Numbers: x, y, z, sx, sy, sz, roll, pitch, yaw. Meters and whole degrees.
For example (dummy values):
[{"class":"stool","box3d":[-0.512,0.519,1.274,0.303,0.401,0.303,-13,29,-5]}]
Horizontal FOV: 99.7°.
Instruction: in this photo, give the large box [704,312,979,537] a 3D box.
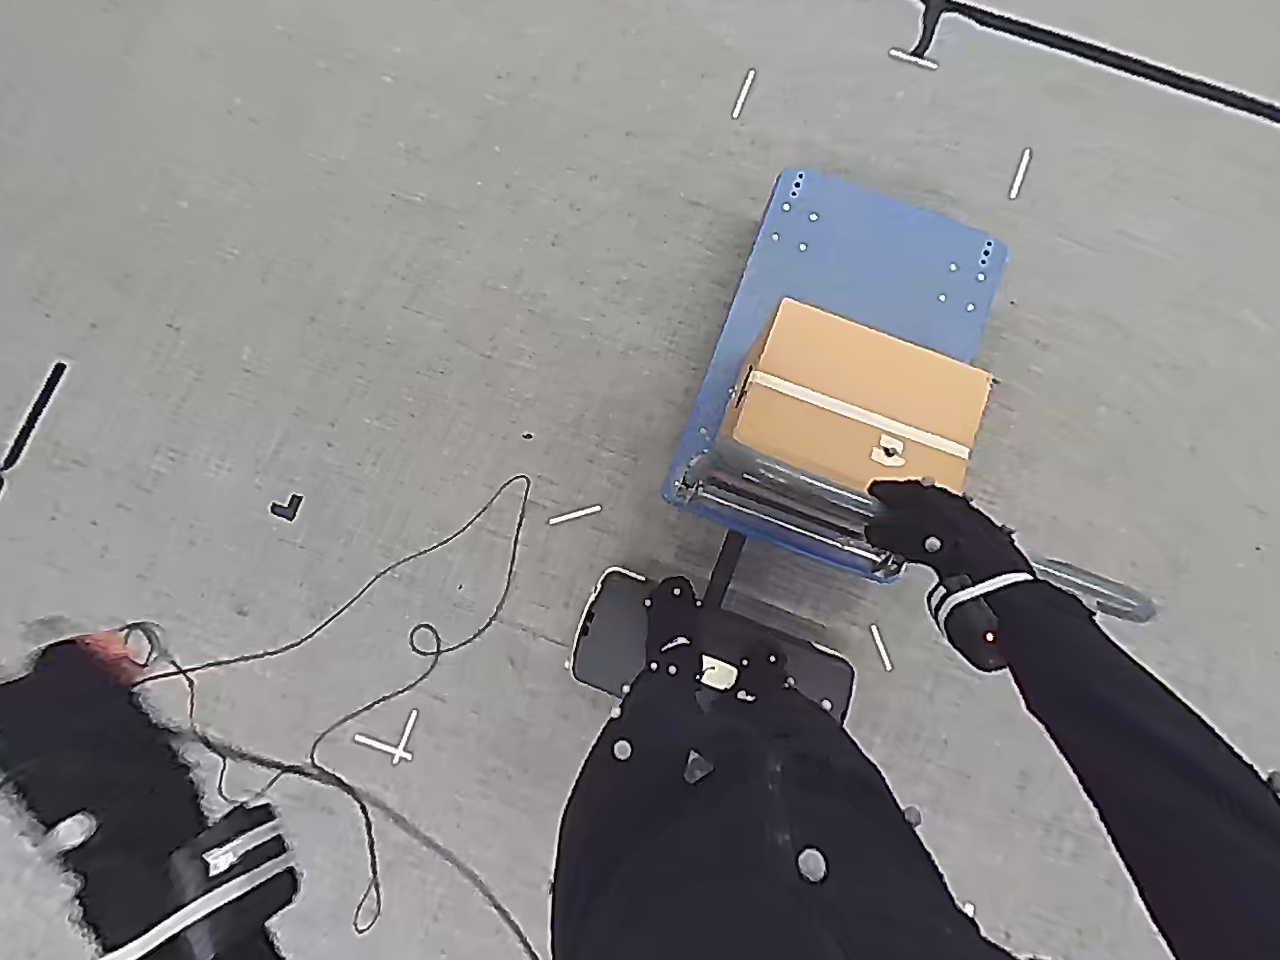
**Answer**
[{"class":"large box","box3d":[0.384,-0.091,1.127,0.408,0.320,0.320,20,86,1]}]
